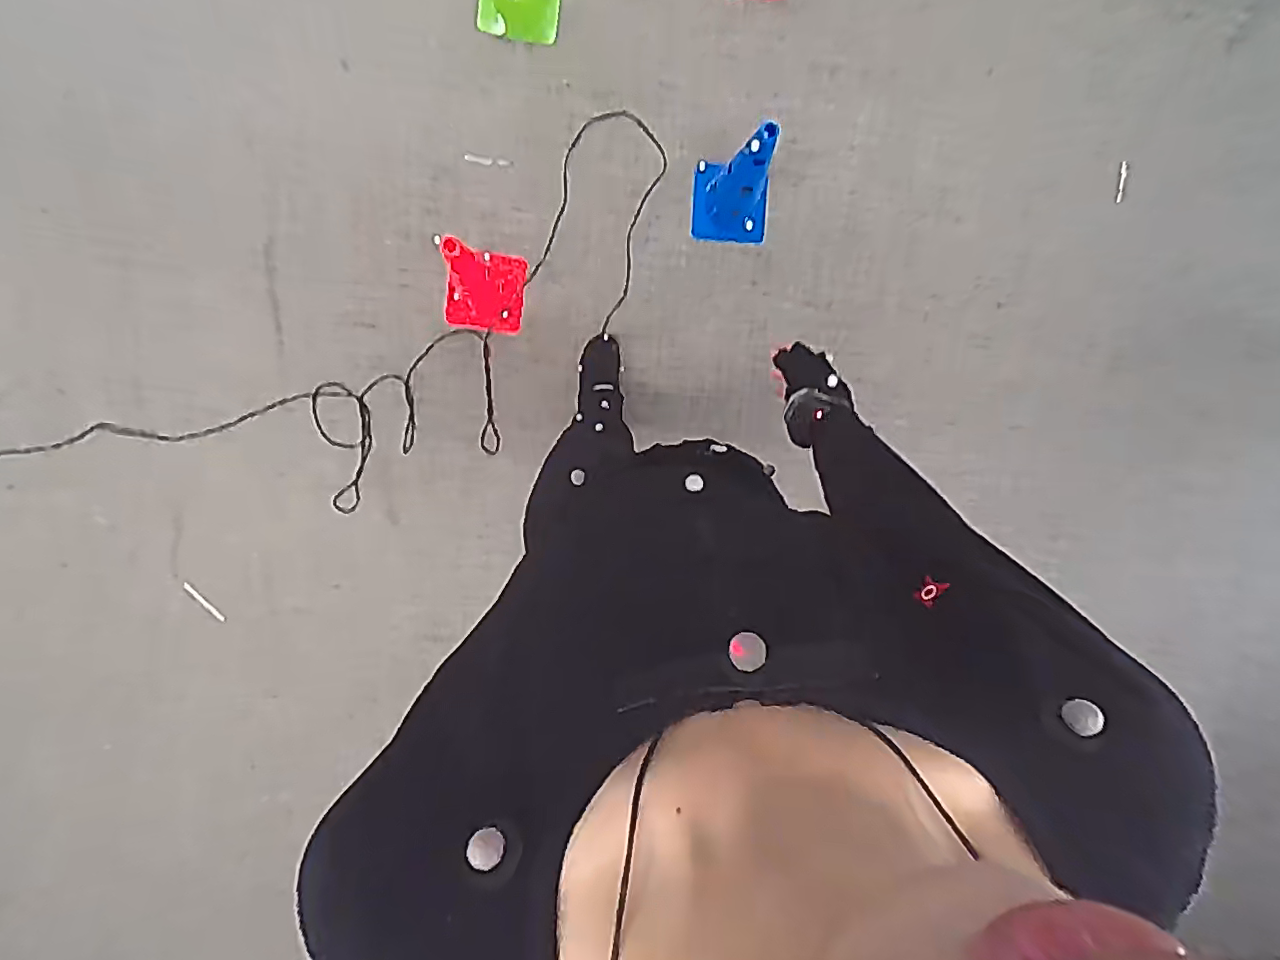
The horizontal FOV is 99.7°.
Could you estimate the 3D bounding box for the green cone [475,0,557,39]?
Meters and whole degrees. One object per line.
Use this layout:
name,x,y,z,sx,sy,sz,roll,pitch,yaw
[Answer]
green cone,-0.297,-1.208,1.184,0.200,0.368,0.202,6,96,-4

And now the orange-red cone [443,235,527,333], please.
orange-red cone,-0.390,-0.485,1.246,0.198,0.360,0.199,8,93,-6
